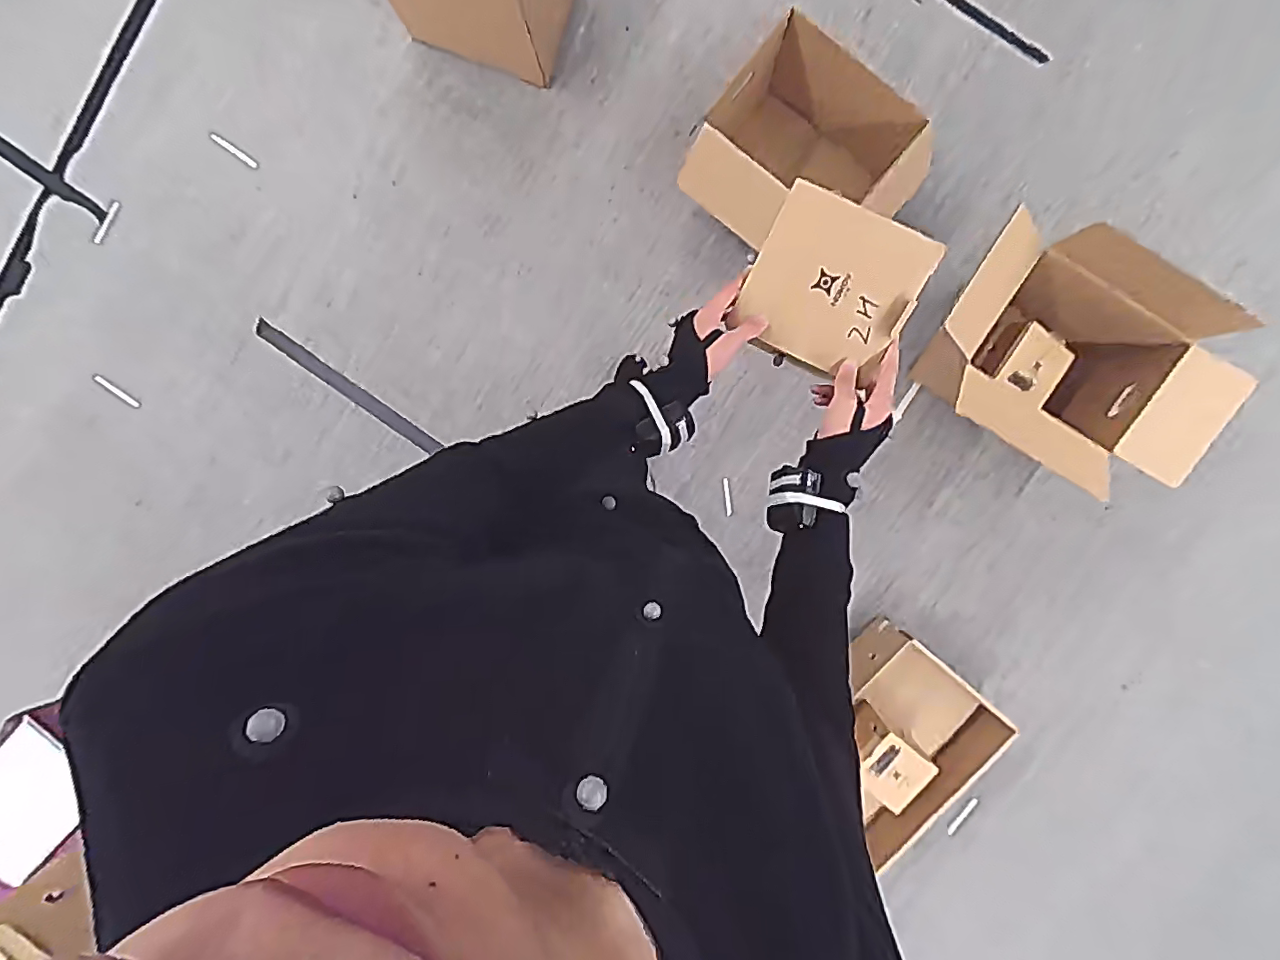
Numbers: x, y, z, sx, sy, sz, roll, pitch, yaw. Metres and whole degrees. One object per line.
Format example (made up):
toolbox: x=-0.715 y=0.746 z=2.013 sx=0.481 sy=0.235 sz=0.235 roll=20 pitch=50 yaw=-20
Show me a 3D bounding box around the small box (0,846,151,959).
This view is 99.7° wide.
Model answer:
small box: x=-0.971 y=0.760 z=0.887 sx=0.168 sy=0.176 sz=0.179 roll=40 pitch=96 yaw=-1
